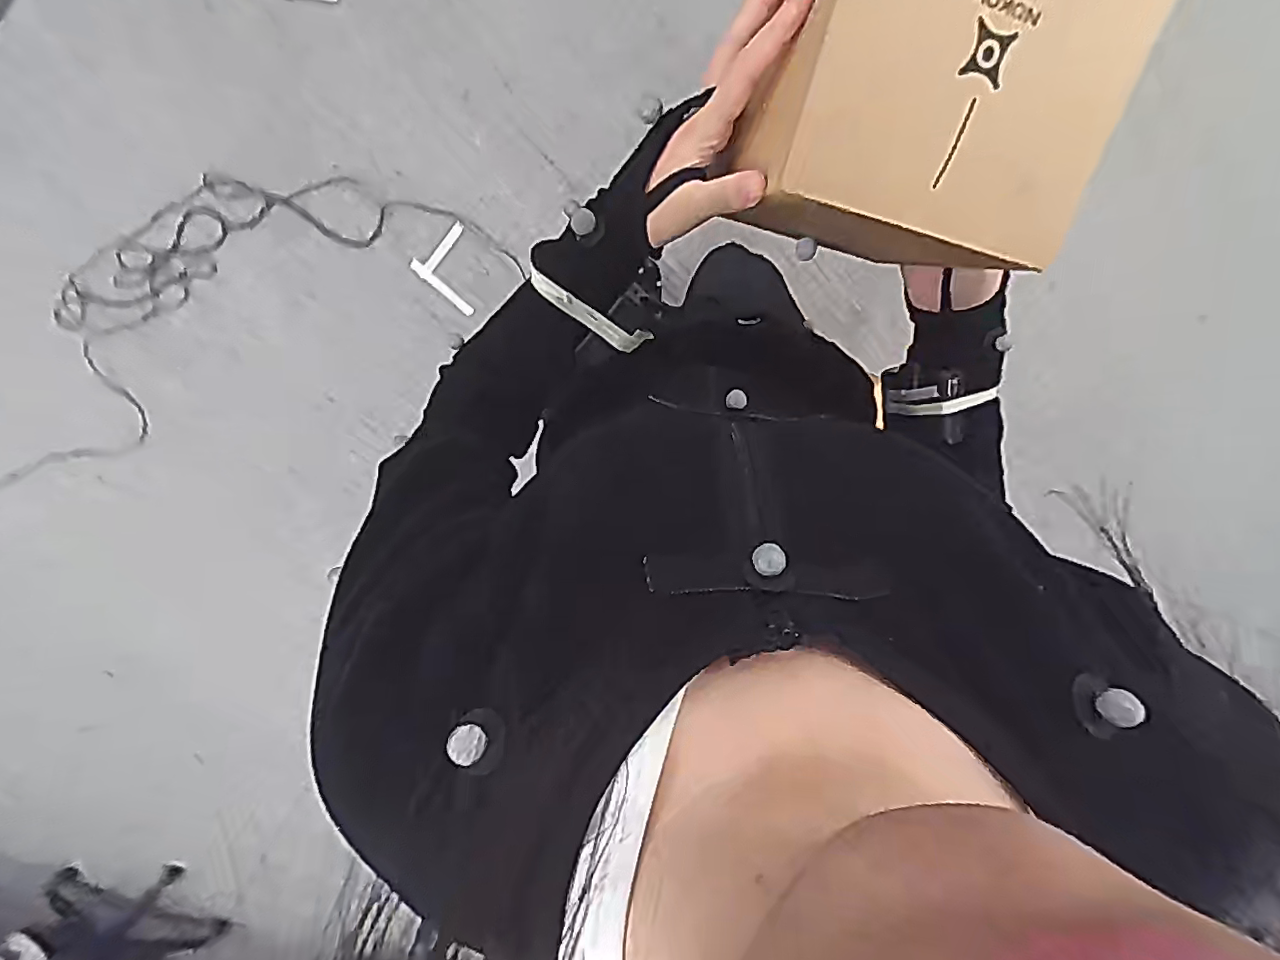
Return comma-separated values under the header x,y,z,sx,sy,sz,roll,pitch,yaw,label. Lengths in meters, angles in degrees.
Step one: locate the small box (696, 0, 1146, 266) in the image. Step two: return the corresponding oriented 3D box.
x,y,z,sx,sy,sz,roll,pitch,yaw,label
0.145,-0.241,0.329,0.168,0.176,0.179,8,111,-13,small box
